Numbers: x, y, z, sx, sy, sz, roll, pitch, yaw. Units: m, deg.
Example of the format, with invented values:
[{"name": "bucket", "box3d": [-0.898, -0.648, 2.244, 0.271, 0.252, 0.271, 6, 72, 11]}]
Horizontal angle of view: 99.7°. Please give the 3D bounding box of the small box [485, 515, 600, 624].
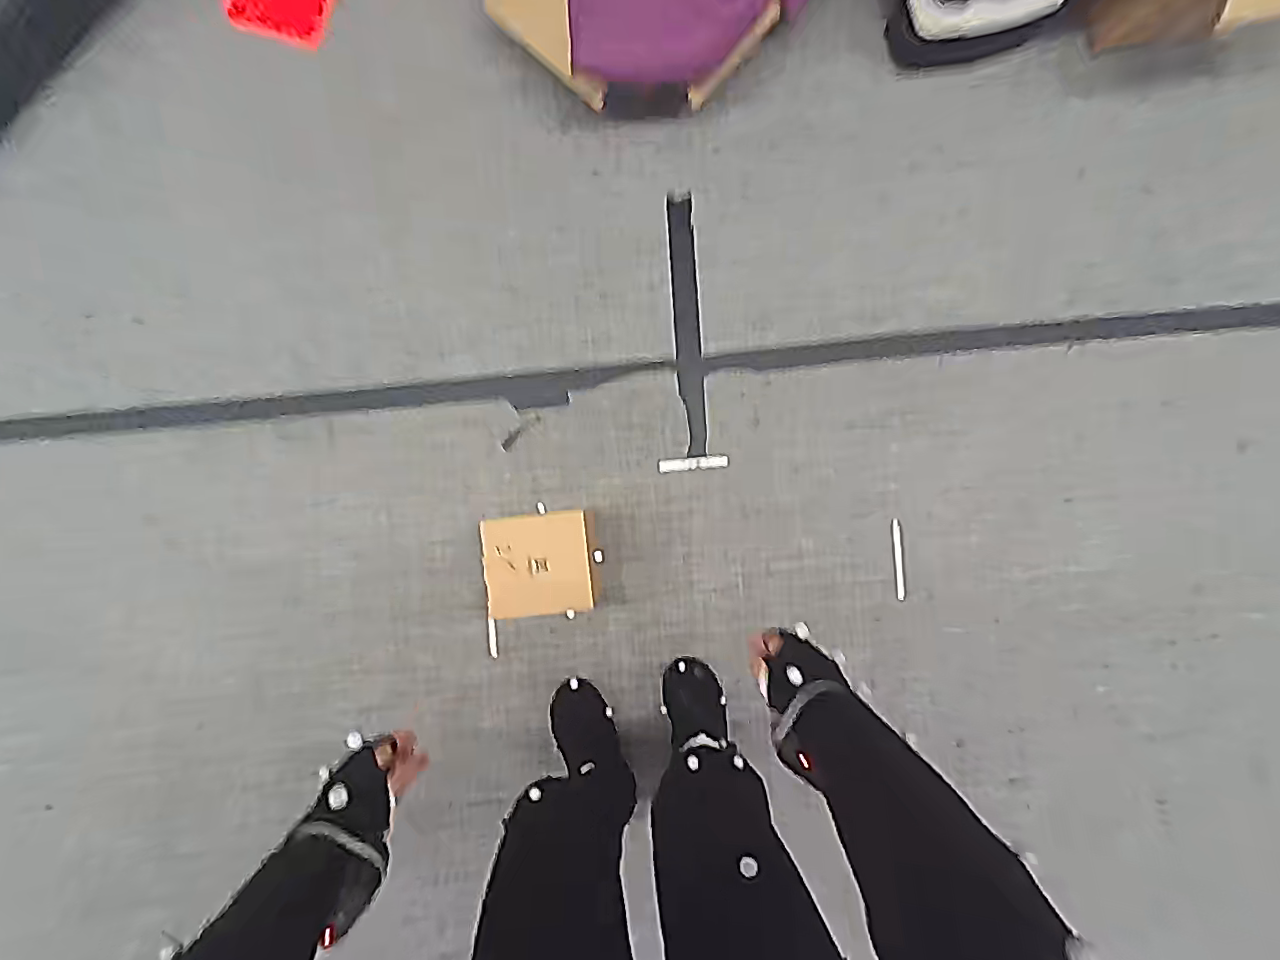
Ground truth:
[{"name": "small box", "box3d": [-0.167, 0.153, 0.981, 0.179, 0.176, 0.168, -6, 88, 0]}]
